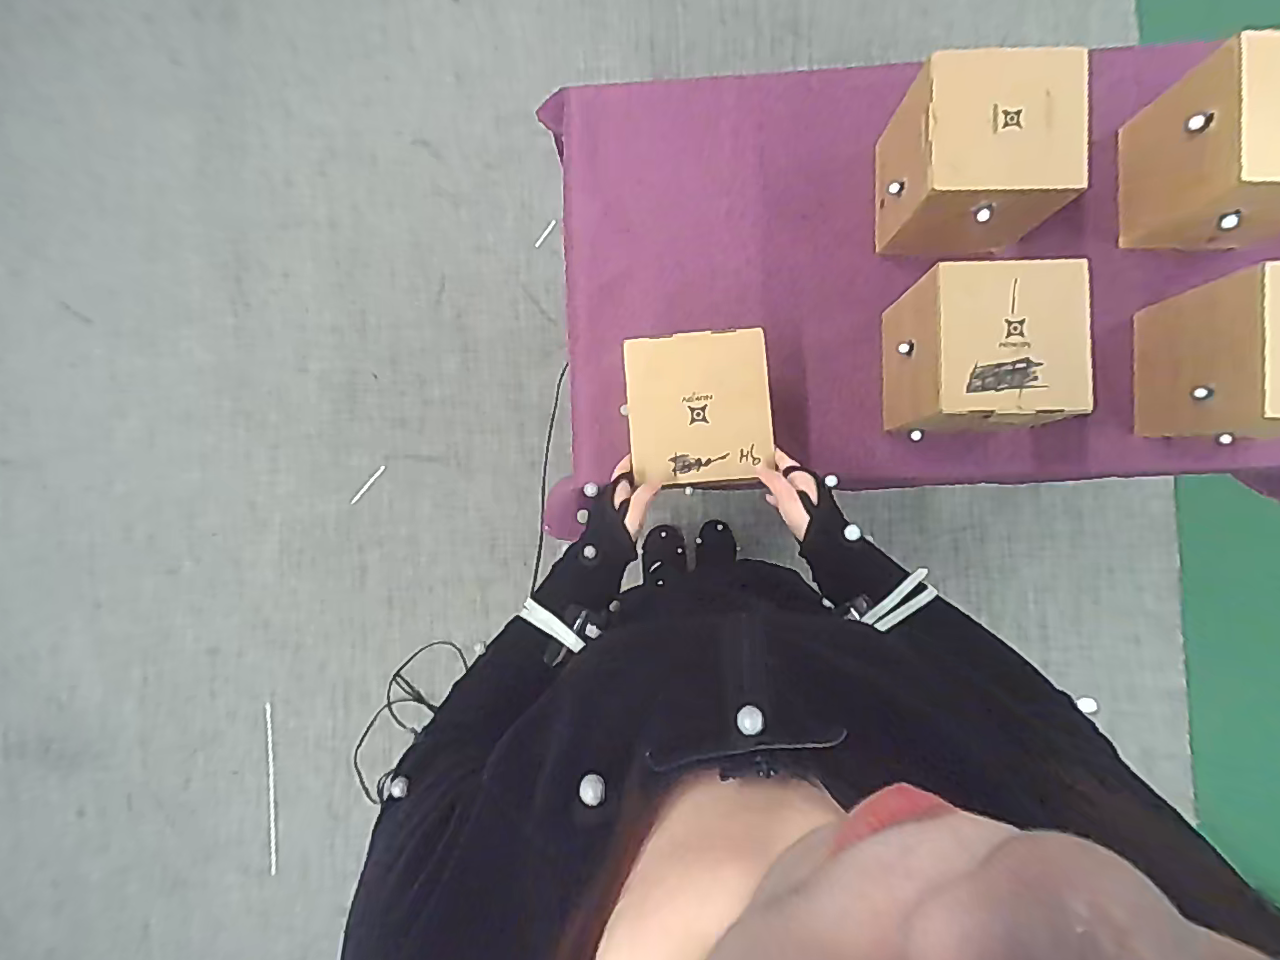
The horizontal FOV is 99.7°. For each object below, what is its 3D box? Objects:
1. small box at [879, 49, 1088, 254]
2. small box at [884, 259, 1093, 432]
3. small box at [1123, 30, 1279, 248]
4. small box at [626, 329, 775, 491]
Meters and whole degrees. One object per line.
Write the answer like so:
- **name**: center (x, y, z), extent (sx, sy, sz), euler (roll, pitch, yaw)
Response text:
- **small box**: center (0.423, -0.406, 0.694), extent (0.179, 0.176, 0.168), euler (2, 89, 3)
- **small box**: center (0.422, -0.156, 0.682), extent (0.168, 0.176, 0.179), euler (0, 87, 4)
- **small box**: center (0.750, -0.407, 0.671), extent (0.168, 0.176, 0.179), euler (2, 87, 4)
- **small box**: center (0.072, -0.080, 0.703), extent (0.168, 0.176, 0.179), euler (-4, 87, 4)
